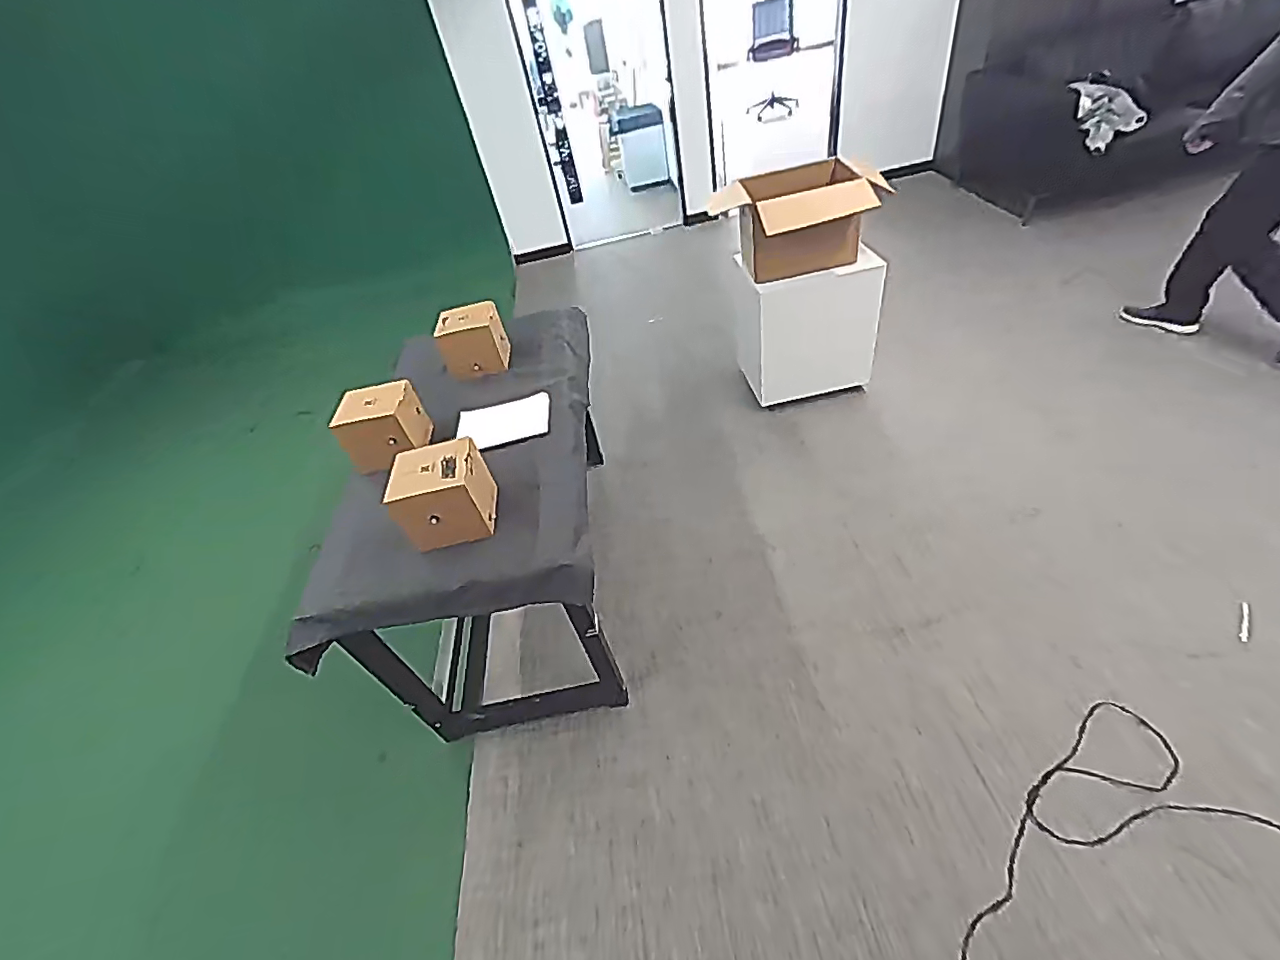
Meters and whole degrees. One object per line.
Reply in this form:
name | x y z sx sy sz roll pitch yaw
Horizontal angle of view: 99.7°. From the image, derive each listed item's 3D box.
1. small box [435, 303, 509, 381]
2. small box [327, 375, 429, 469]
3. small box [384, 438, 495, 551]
small box | -0.528 -0.441 1.731 0.179 0.176 0.168 -10 43 1
small box | -0.690 -0.154 1.451 0.179 0.176 0.168 -12 42 1
small box | -0.438 0.034 1.215 0.179 0.176 0.168 -13 42 1
